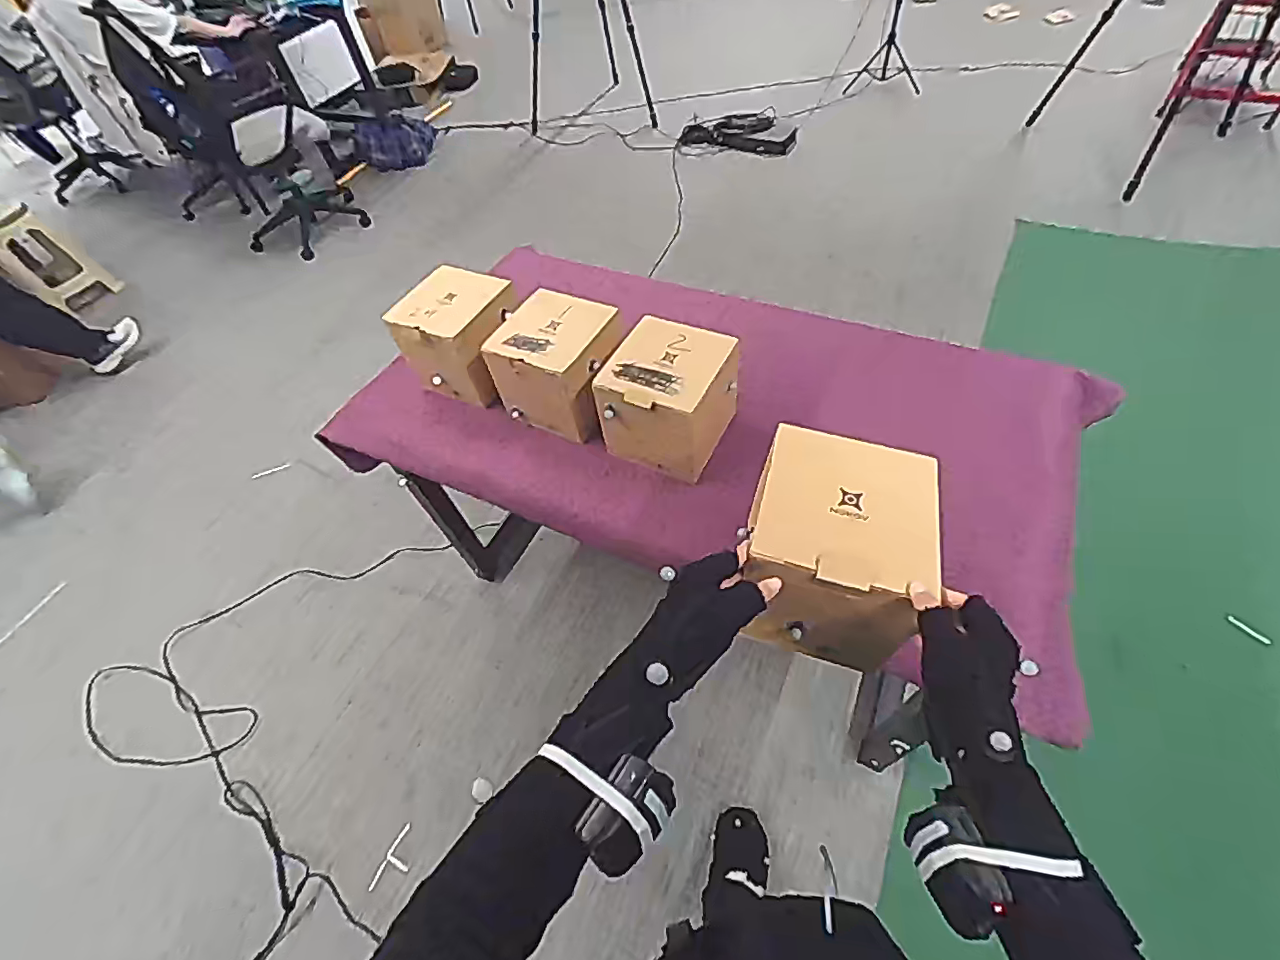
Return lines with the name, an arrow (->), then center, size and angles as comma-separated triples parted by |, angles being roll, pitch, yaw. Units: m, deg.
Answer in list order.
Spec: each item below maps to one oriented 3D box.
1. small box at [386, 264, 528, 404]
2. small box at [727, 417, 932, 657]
small box -> -0.334, -0.278, 1.032 | 0.168, 0.176, 0.179 | 20, 59, 20
small box -> 0.199, 0.064, 0.593 | 0.168, 0.176, 0.179 | 14, 53, 11
